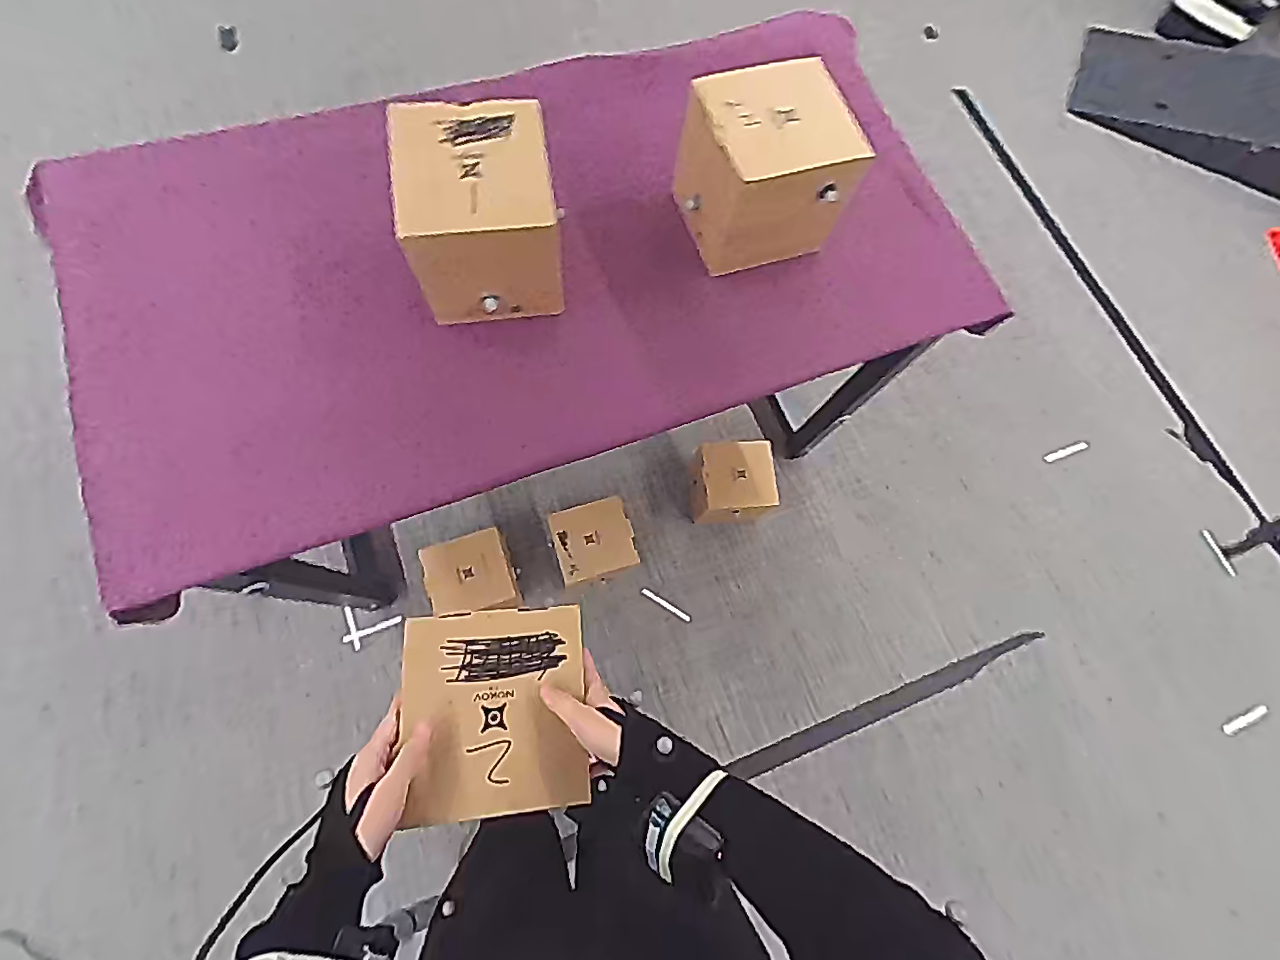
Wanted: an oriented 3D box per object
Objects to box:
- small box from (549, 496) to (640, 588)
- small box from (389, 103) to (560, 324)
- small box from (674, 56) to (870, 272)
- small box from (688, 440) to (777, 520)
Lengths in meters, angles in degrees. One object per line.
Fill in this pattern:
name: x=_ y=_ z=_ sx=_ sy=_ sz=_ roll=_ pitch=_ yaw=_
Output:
small box: x=-0.112 y=0.152 z=1.295 sx=0.179 sy=0.176 sz=0.168 roll=-15 pitch=76 yaw=-10
small box: x=-0.192 y=-0.316 z=0.661 sx=0.168 sy=0.176 sz=0.179 roll=-8 pitch=75 yaw=-8
small box: x=0.161 y=-0.410 z=0.721 sx=0.179 sy=0.176 sz=0.168 roll=-18 pitch=75 yaw=-10
small box: x=0.229 y=0.004 z=1.372 sx=0.179 sy=0.176 sz=0.168 roll=-3 pitch=75 yaw=-6
